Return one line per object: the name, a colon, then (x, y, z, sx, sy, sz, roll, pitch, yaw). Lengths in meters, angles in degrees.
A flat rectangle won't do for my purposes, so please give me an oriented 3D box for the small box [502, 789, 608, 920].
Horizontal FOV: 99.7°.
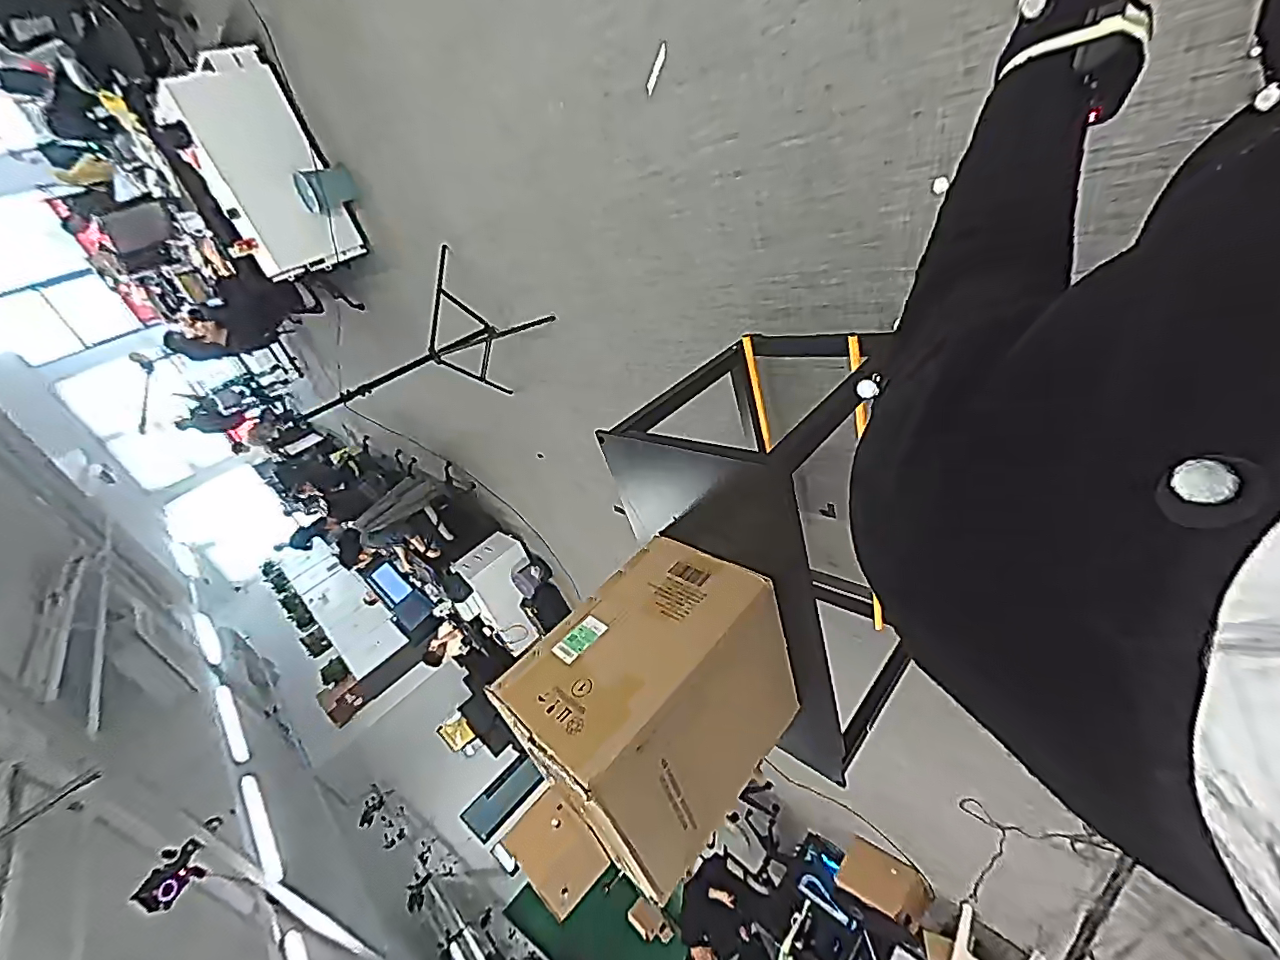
small box: (-0.204, 0.920, 1.340, 0.168, 0.176, 0.179, 18, 135, 46)
